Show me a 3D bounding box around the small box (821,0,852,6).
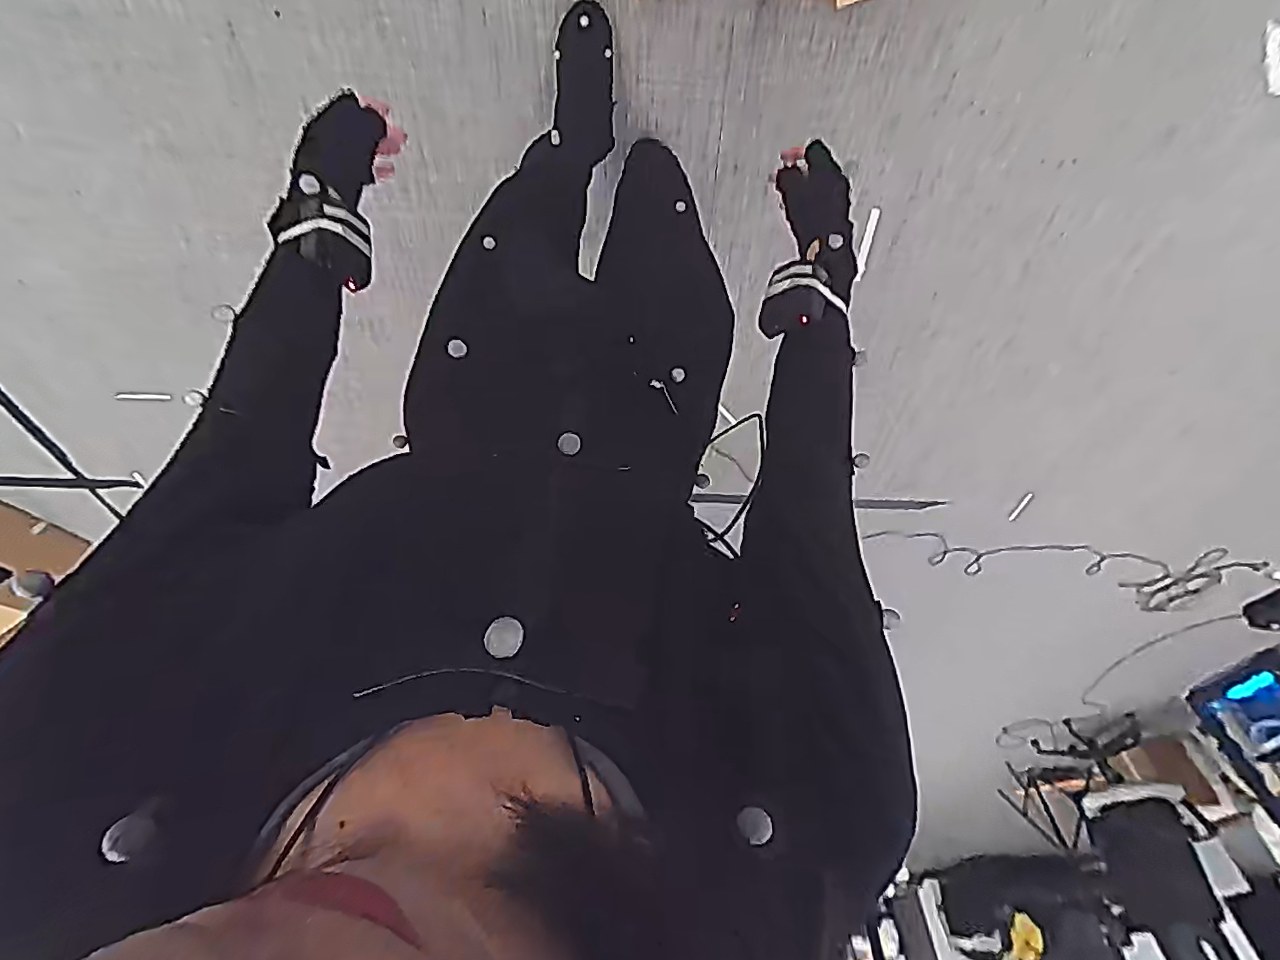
[{"bbox_3d":[0.377,-0.902,0.867,0.179,0.176,0.168,-12,133,12],"label":"small box"}]
